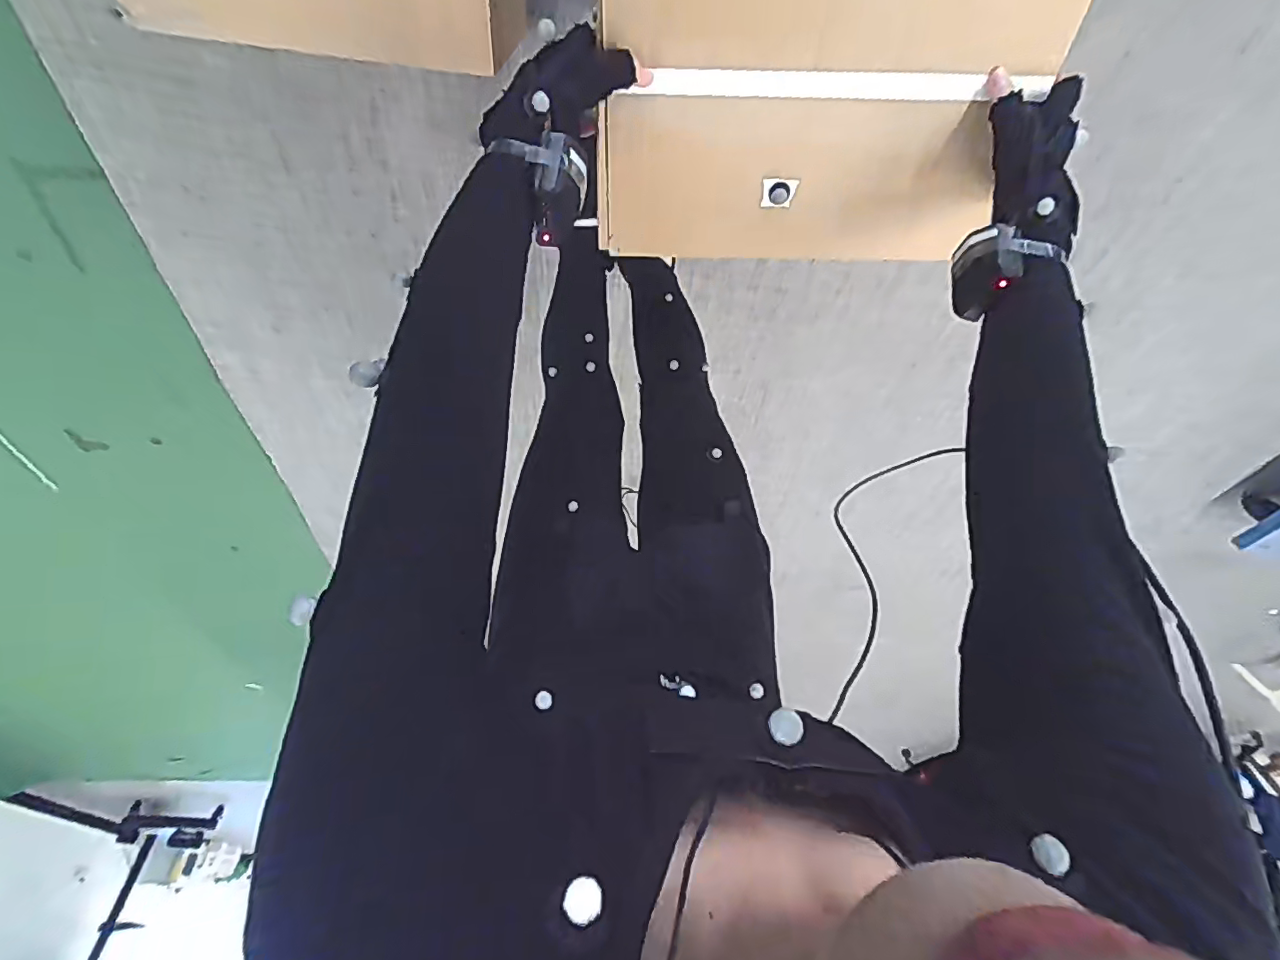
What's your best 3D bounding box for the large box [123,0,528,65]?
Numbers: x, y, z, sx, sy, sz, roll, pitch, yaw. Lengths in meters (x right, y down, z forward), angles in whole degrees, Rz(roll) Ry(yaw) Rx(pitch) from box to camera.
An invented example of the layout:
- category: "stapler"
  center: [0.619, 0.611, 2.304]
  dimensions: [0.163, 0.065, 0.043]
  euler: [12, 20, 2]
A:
- category: "large box"
  center: [-0.351, -0.711, 0.604]
  dimensions: [0.408, 0.320, 0.320]
  euler: [4, 137, -5]
